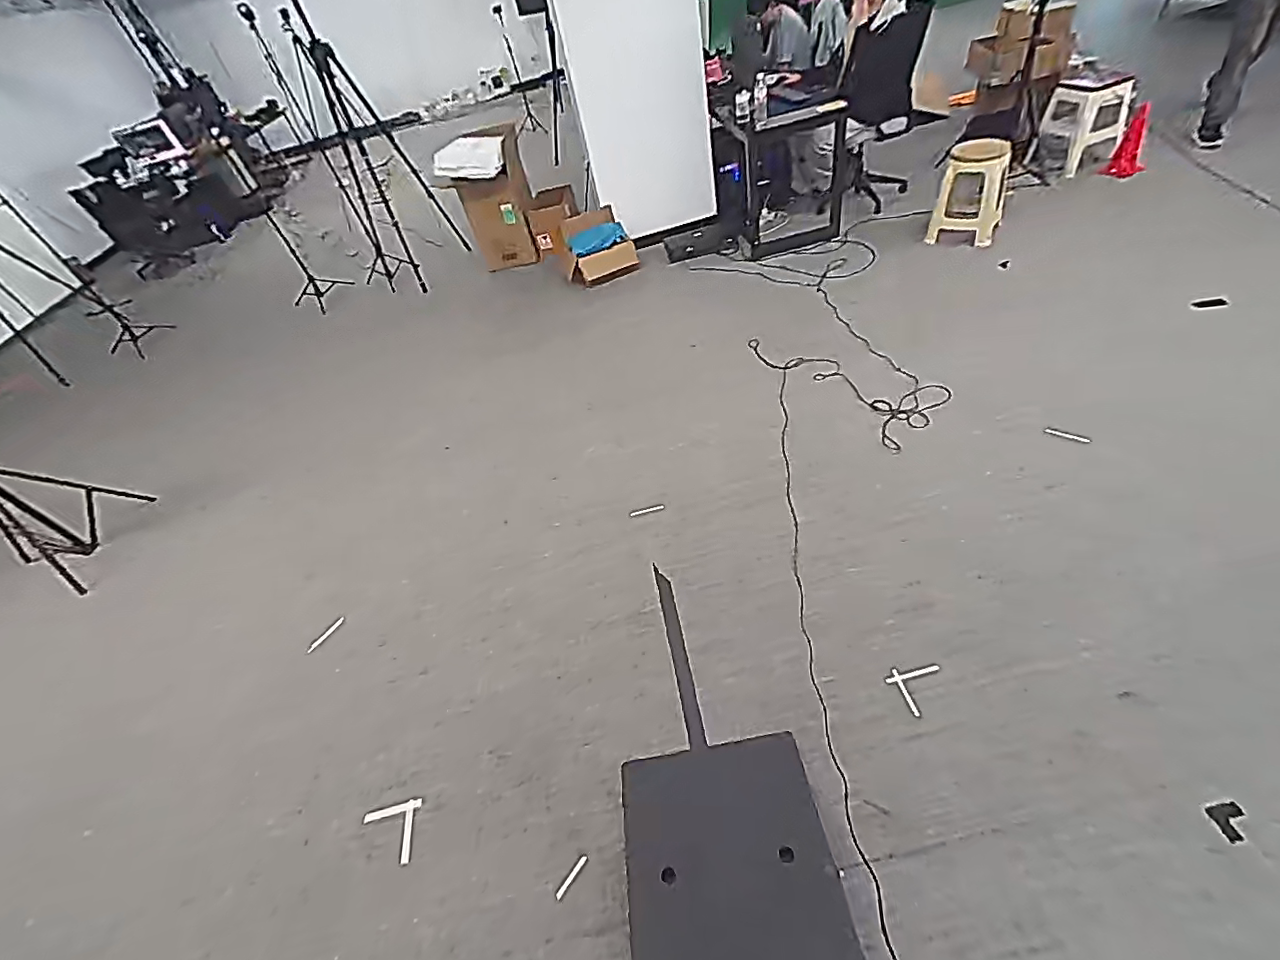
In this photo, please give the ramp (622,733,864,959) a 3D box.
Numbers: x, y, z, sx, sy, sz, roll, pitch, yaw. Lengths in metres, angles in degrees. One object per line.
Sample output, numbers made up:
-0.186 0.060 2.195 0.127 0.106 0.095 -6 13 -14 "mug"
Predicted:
0.219 1.036 1.110 0.509 0.206 0.991 -14 44 3 "ramp"
